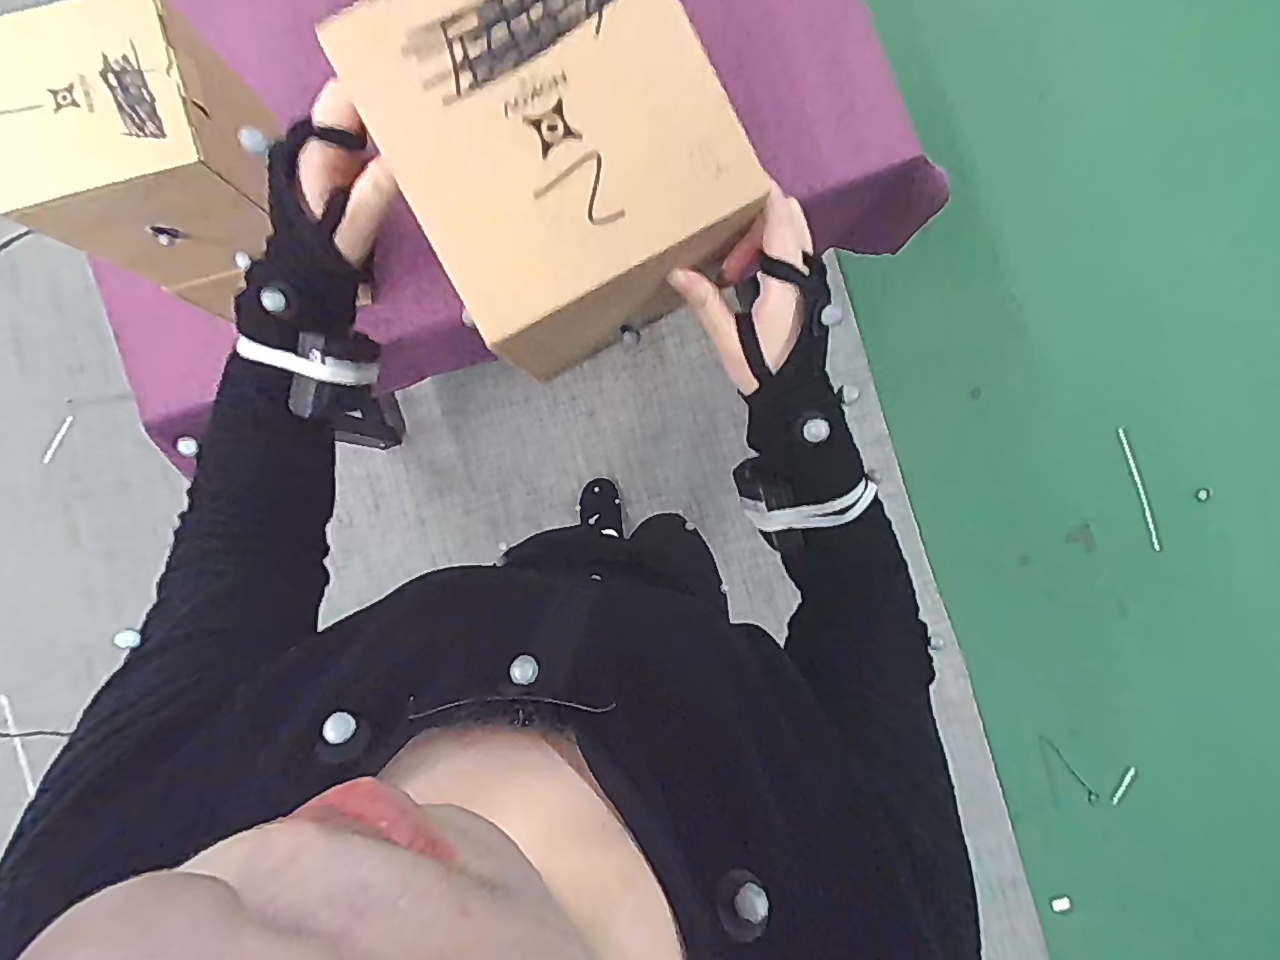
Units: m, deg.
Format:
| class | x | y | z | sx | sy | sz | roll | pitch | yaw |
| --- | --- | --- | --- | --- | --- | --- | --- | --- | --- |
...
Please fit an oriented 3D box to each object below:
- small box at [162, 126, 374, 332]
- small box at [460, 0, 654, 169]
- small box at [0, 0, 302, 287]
| class | x | y | z | sx | sy | sz | roll | pitch | yaw |
| --- | --- | --- | --- | --- | --- | --- | --- | --- | --- |
| small box | -0.486 | -0.310 | 0.705 | 0.179 | 0.176 | 0.168 | -16 | 89 | -3 |
| small box | -0.091 | -0.468 | 0.557 | 0.168 | 0.176 | 0.179 | -17 | 90 | -2 |
| small box | -0.476 | -0.319 | 0.541 | 0.179 | 0.176 | 0.168 | -17 | 89 | -2 |
